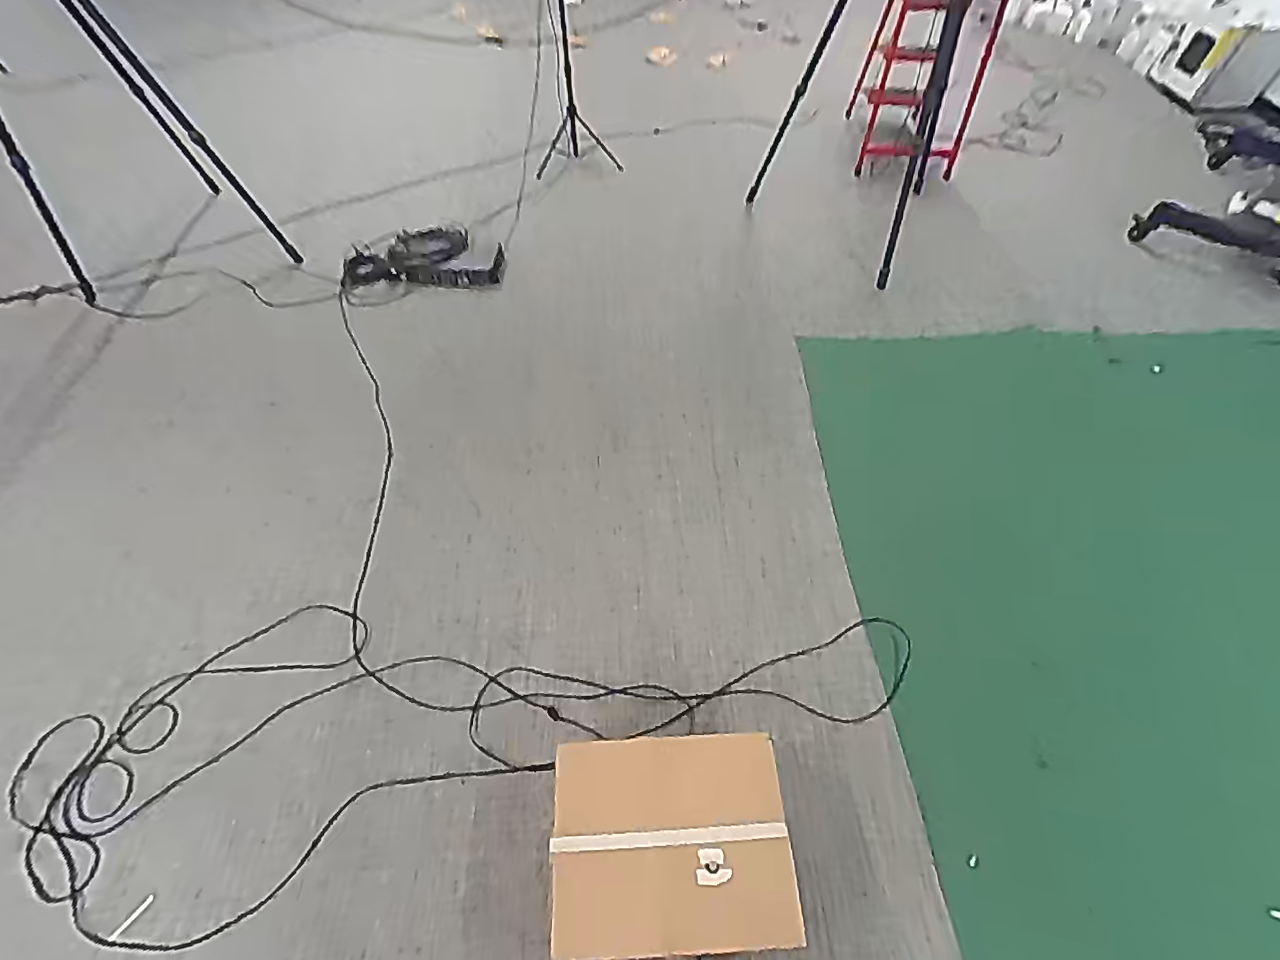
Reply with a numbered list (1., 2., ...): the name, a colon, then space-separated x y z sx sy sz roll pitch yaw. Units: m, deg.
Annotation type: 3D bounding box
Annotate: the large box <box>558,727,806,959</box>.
1. large box: 0.058 0.691 1.057 0.408 0.320 0.320 -3 57 -1
